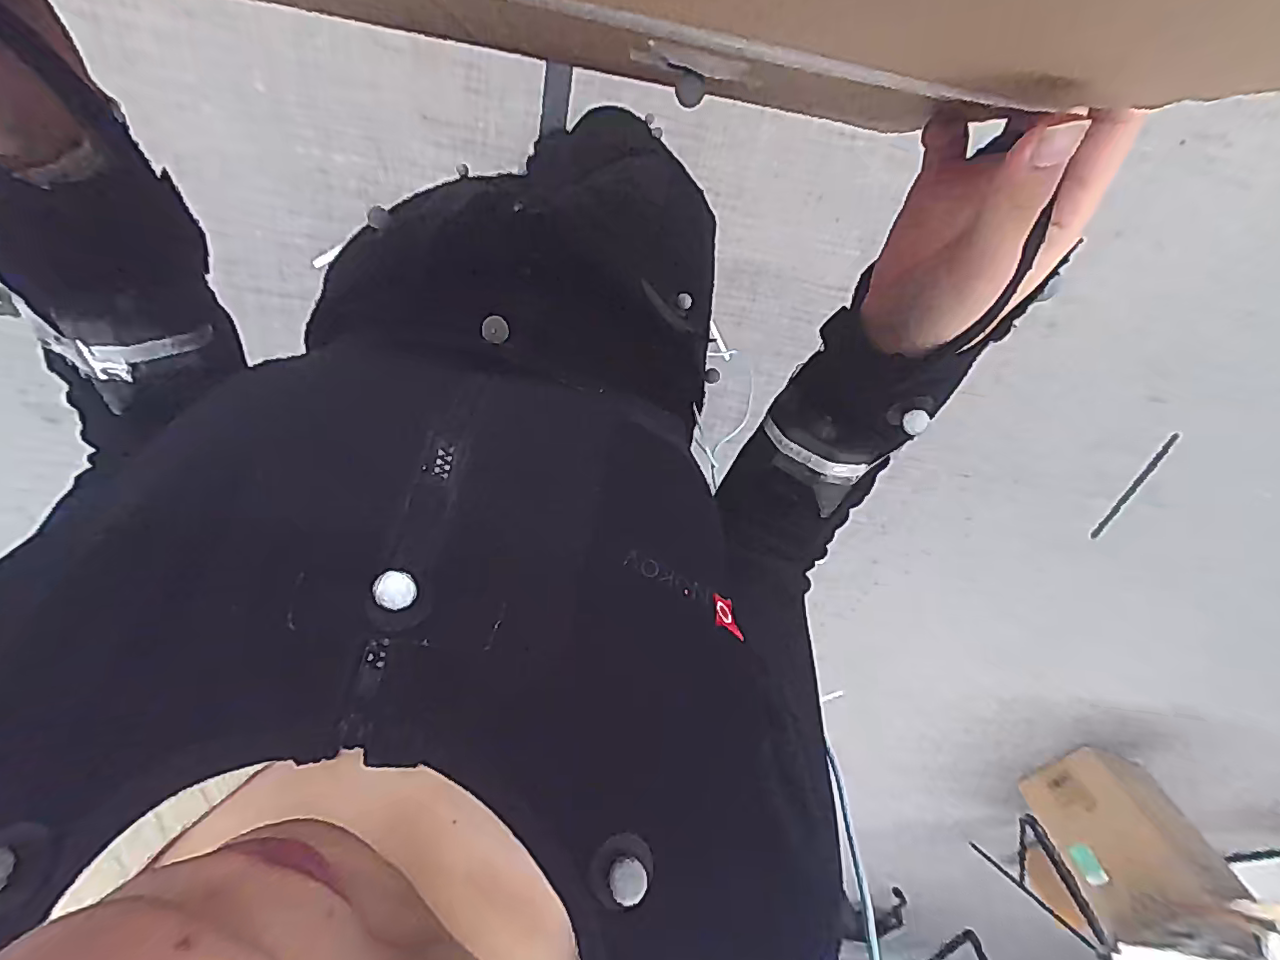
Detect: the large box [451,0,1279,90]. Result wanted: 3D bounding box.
[{"bbox_3d":[-0.015,-0.300,0.084,0.408,0.320,0.320,5,121,-7],"label":"large box"}]
